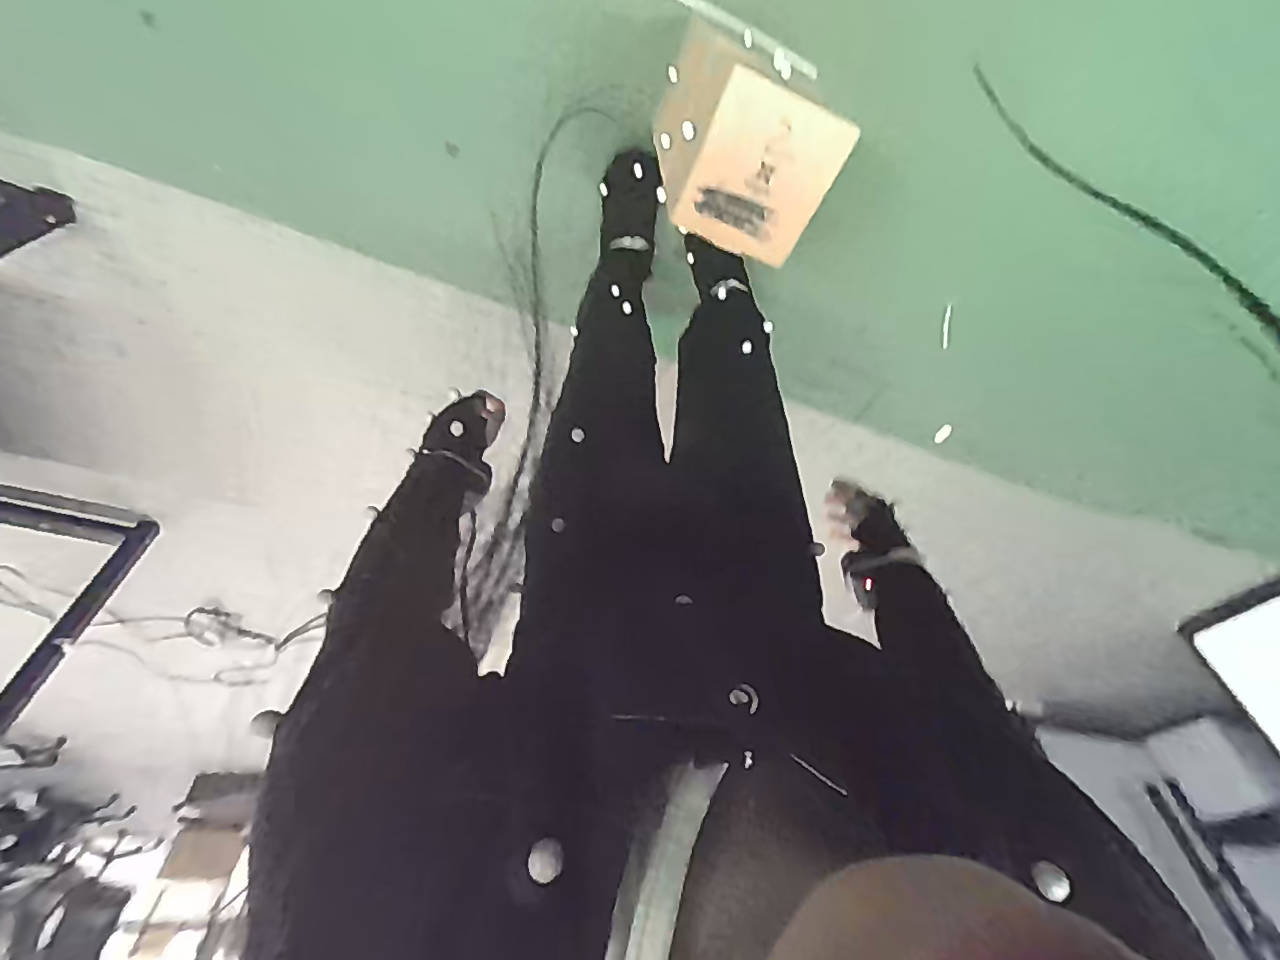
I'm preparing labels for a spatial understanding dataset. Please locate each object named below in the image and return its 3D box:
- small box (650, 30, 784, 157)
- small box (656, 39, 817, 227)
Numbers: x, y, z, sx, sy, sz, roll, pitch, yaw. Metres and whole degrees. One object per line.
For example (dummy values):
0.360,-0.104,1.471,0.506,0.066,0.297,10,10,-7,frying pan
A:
0.123,-0.638,0.936,0.168,0.176,0.179,17,131,-18,small box
0.131,-0.527,0.819,0.168,0.176,0.179,16,131,-18,small box
